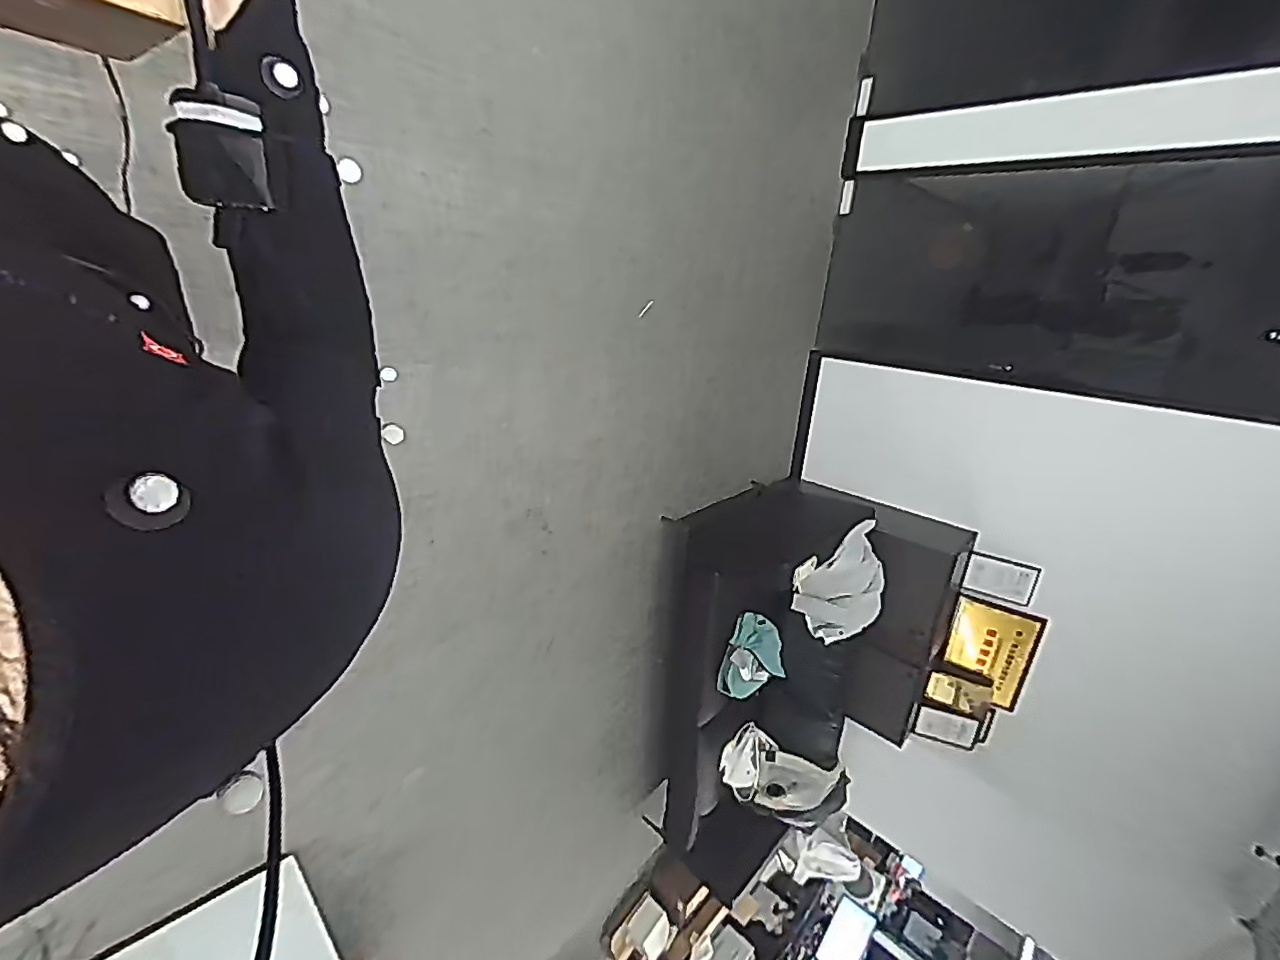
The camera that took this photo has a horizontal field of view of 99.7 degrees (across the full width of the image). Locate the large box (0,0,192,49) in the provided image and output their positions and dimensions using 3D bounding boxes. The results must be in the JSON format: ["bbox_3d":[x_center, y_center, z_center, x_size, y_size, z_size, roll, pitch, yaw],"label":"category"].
[{"bbox_3d":[-0.502,-0.458,0.236,0.408,0.320,0.320,-13,124,-46],"label":"large box"}]
